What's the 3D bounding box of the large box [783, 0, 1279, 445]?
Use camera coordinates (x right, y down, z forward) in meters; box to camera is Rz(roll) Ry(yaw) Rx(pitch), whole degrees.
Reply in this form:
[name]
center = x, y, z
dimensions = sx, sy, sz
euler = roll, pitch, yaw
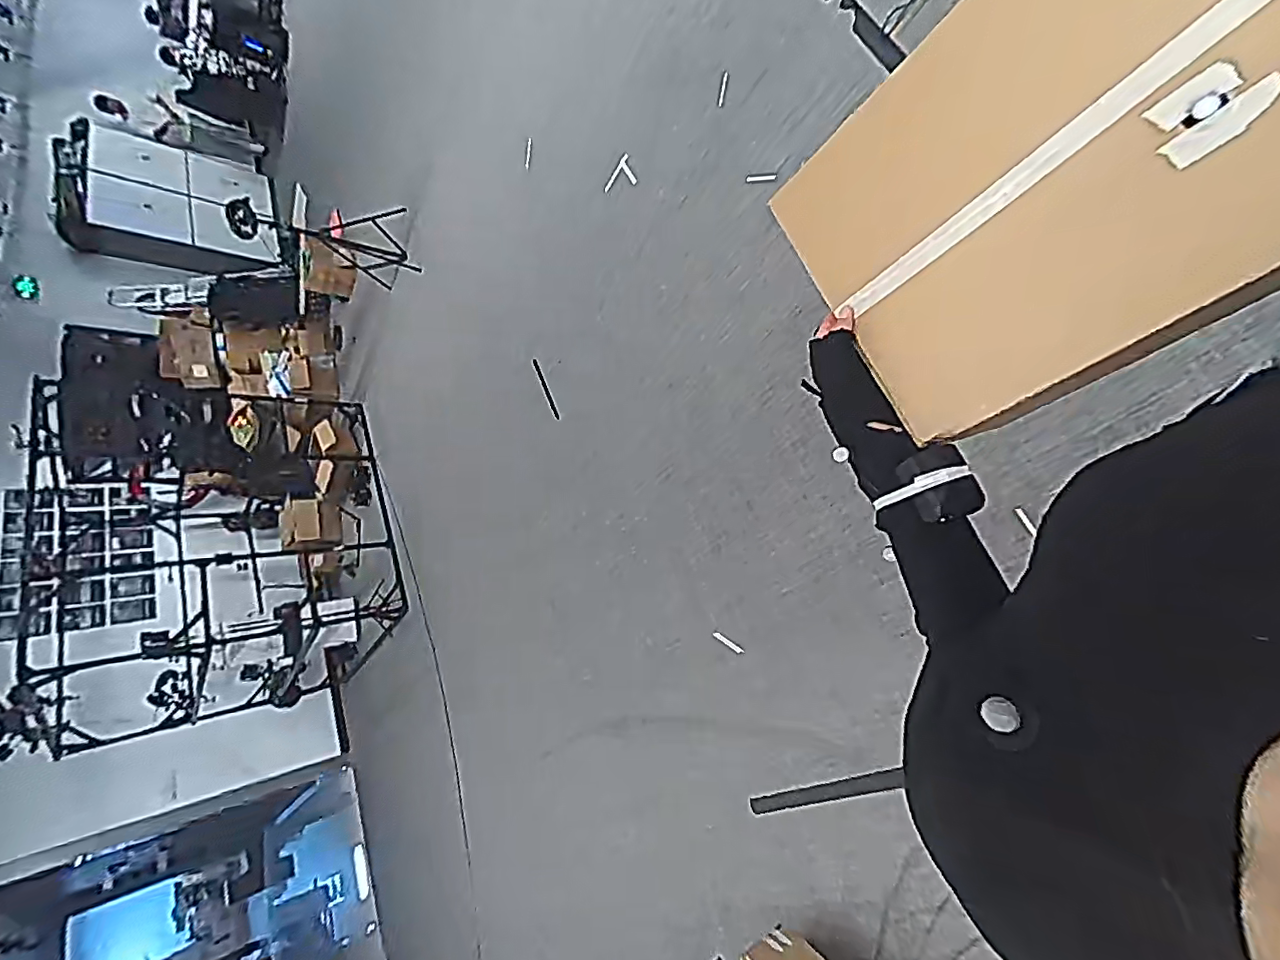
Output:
[large box]
center = 0.434, -0.271, 0.536
dimensions = 0.408, 0.320, 0.320
euler = -37, 72, 40
